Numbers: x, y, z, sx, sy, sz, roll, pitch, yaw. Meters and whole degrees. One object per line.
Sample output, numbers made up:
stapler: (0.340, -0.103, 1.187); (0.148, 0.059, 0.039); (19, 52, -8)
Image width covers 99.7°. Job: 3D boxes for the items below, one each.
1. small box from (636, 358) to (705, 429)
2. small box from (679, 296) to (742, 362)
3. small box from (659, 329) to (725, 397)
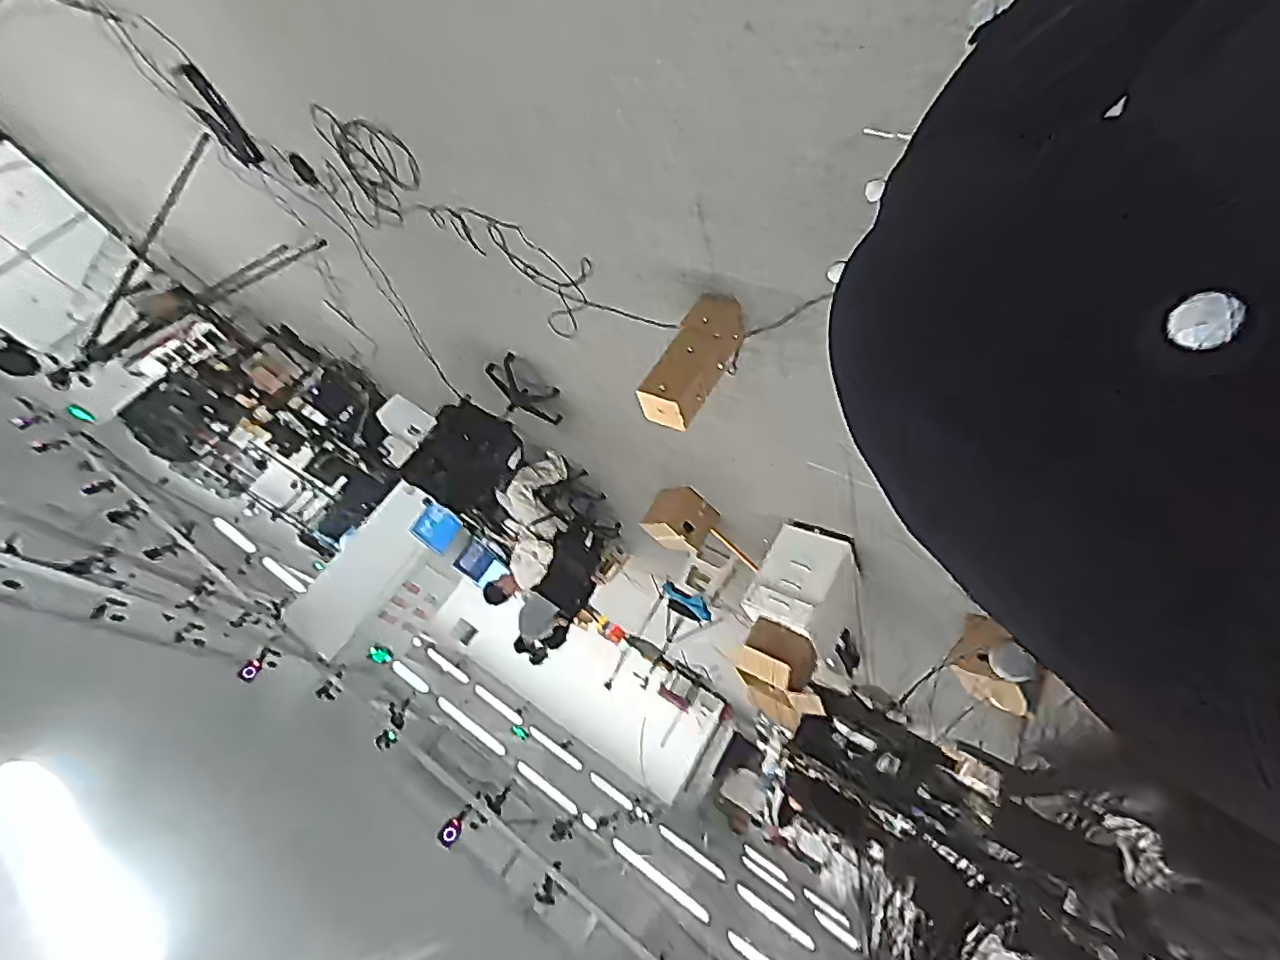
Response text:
small box: (0.116, -0.320, 1.973); (0.179, 0.176, 0.168); (22, 157, 28)
small box: (0.279, -0.583, 2.078); (0.179, 0.176, 0.168); (22, 156, 31)
small box: (0.200, -0.445, 2.035); (0.179, 0.176, 0.168); (23, 157, 27)
